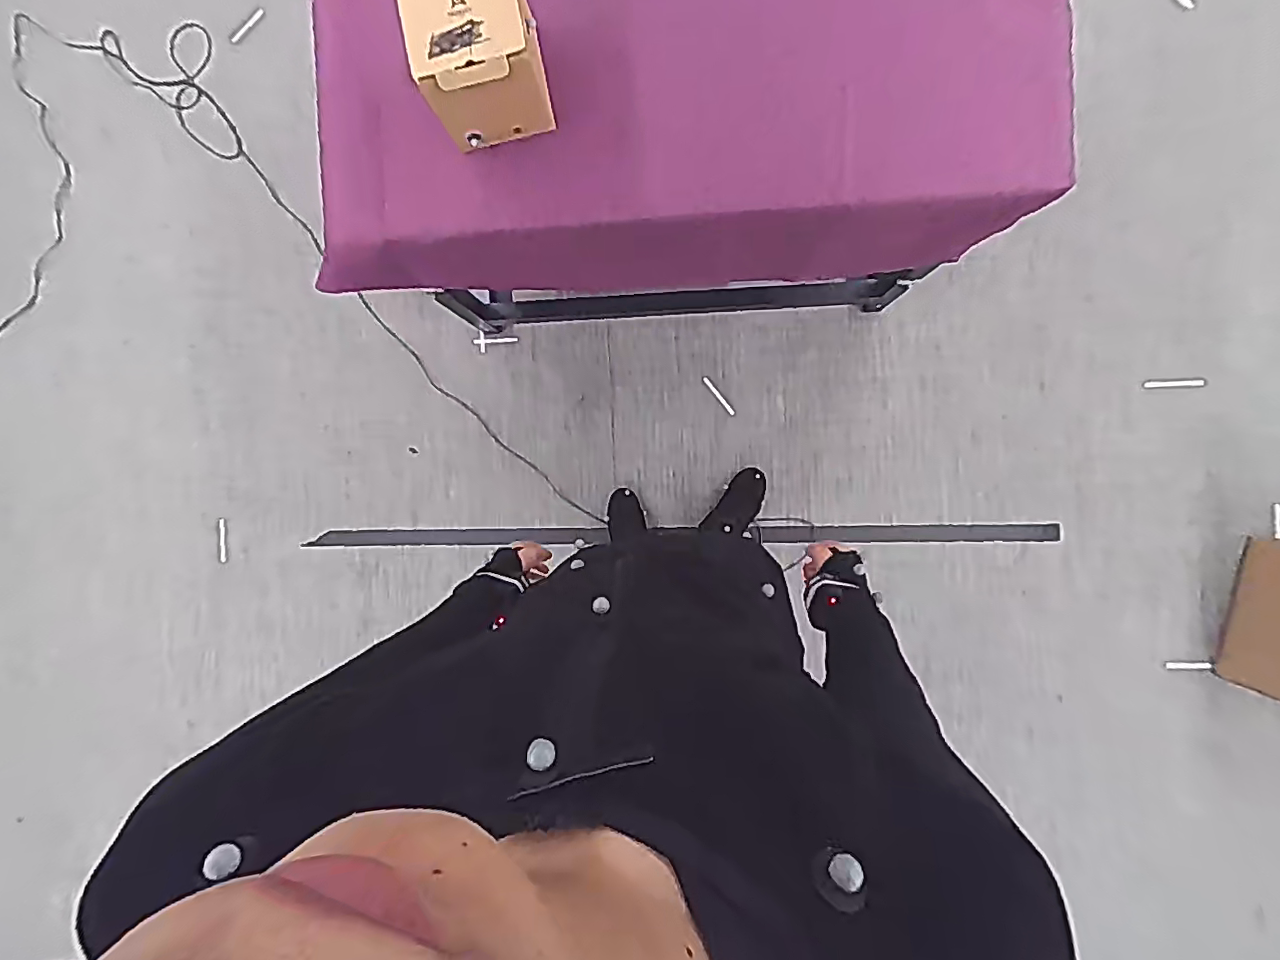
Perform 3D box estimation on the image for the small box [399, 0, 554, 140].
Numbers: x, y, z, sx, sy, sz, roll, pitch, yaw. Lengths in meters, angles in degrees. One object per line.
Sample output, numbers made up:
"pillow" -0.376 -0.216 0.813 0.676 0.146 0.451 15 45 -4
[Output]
"small box" -0.237 -0.645 0.808 0.168 0.176 0.179 -11 90 4
